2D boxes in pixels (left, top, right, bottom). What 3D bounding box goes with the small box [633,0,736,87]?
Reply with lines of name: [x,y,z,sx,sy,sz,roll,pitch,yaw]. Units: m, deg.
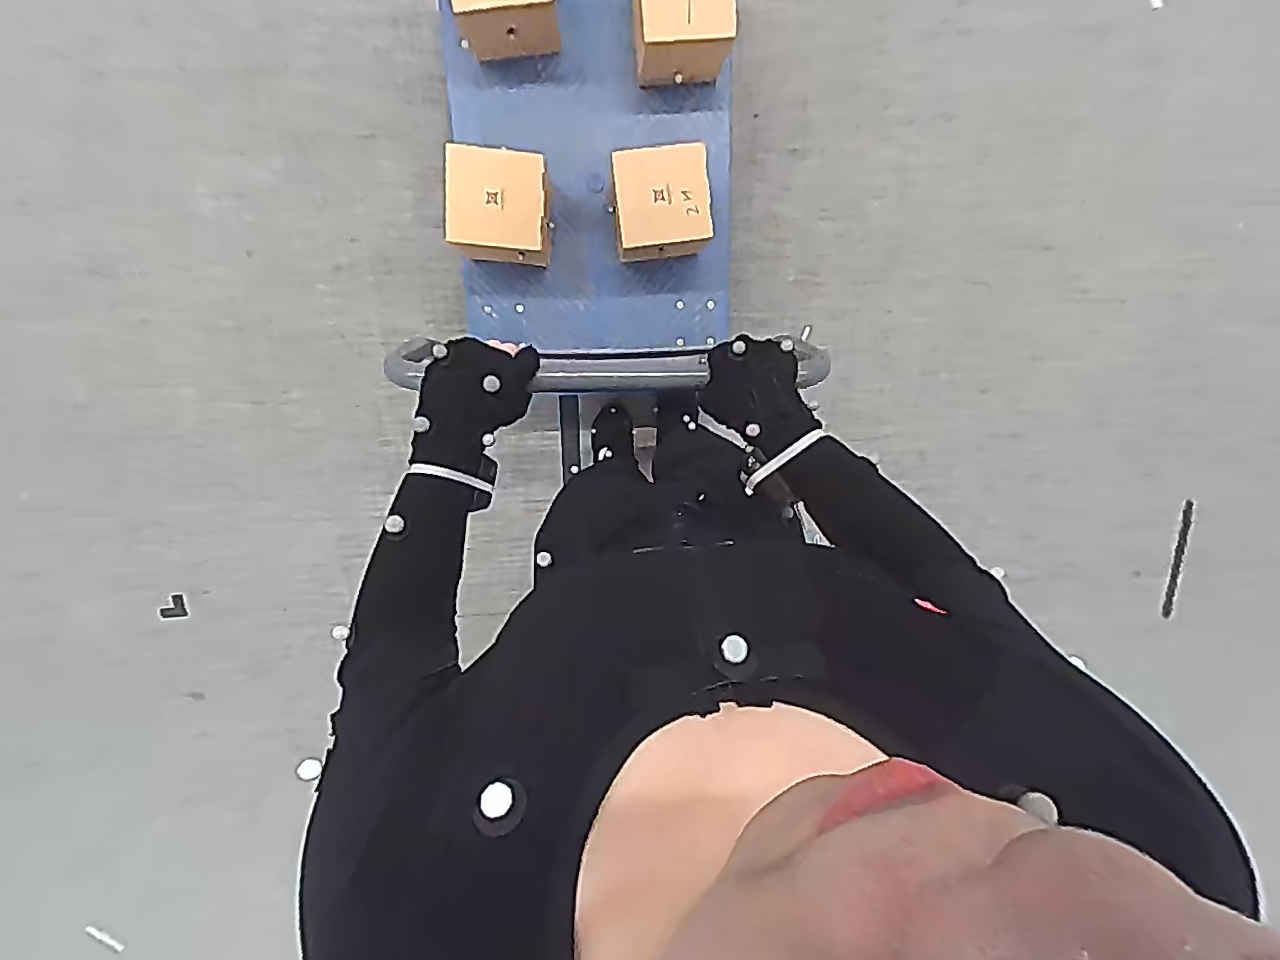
small box: [0.076,-0.871,1.006,0.168,0.176,0.179,-5,105,-2]

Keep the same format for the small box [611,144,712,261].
small box: [0.038,-0.544,1.083,0.179,0.176,0.168,-8,104,-2]

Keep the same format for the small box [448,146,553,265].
small box: [-0.268,-0.530,1.066,0.179,0.176,0.168,3,103,-6]
